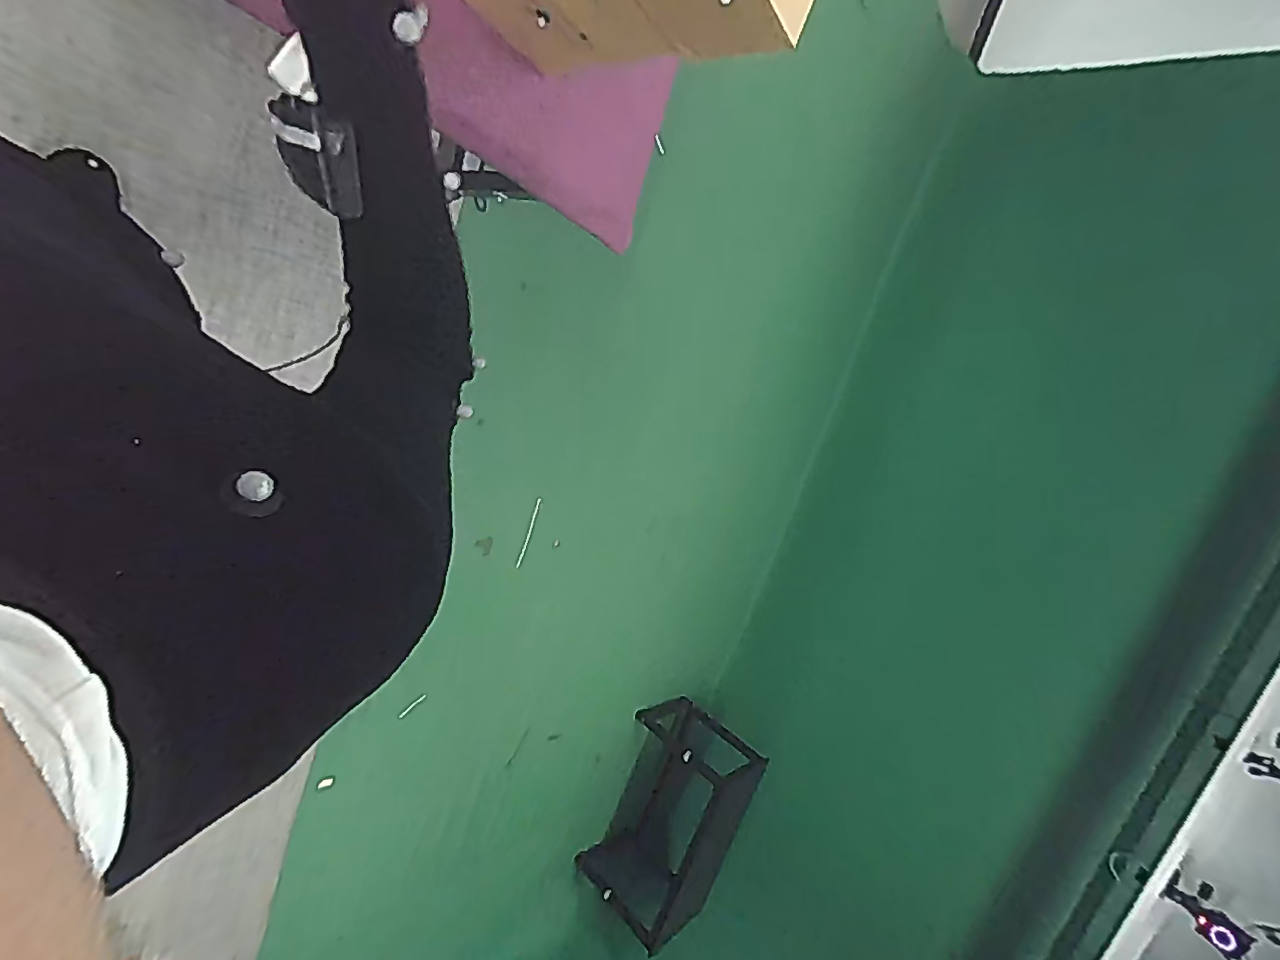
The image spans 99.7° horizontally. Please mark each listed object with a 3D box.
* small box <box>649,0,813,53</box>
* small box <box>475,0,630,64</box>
[{"bbox_3d":[0.097,-0.612,0.592,0.179,0.176,0.168,13,102,-51],"label":"small box"},{"bbox_3d":[-0.127,-0.749,0.788,0.179,0.176,0.168,10,104,-51],"label":"small box"}]
